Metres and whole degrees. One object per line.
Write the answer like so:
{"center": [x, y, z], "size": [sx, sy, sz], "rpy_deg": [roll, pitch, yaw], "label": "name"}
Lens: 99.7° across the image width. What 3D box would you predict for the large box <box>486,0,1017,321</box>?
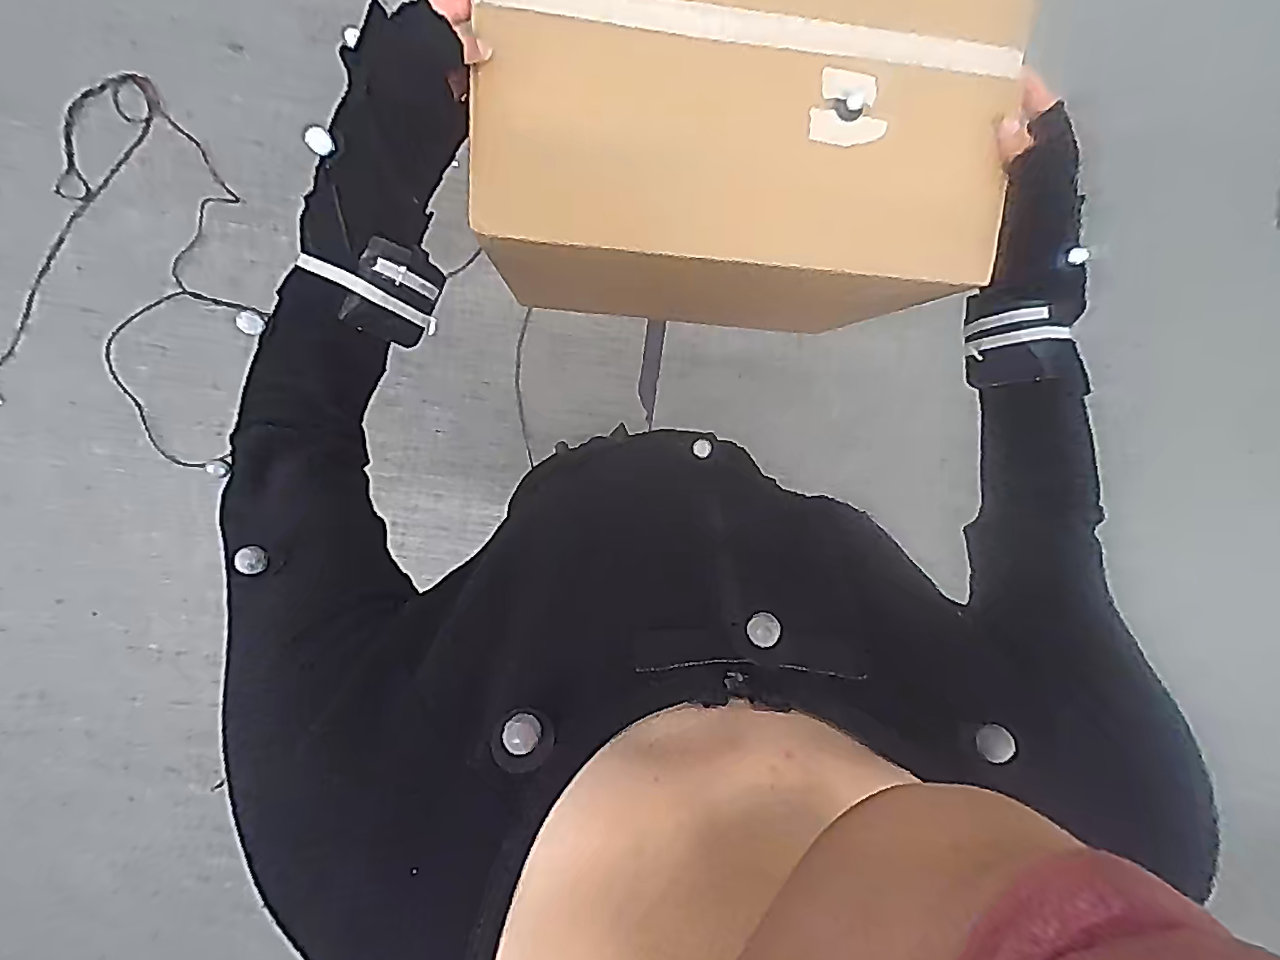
{"center": [0.070, -0.350, 0.546], "size": [0.408, 0.320, 0.320], "rpy_deg": [2, 98, -7], "label": "large box"}
